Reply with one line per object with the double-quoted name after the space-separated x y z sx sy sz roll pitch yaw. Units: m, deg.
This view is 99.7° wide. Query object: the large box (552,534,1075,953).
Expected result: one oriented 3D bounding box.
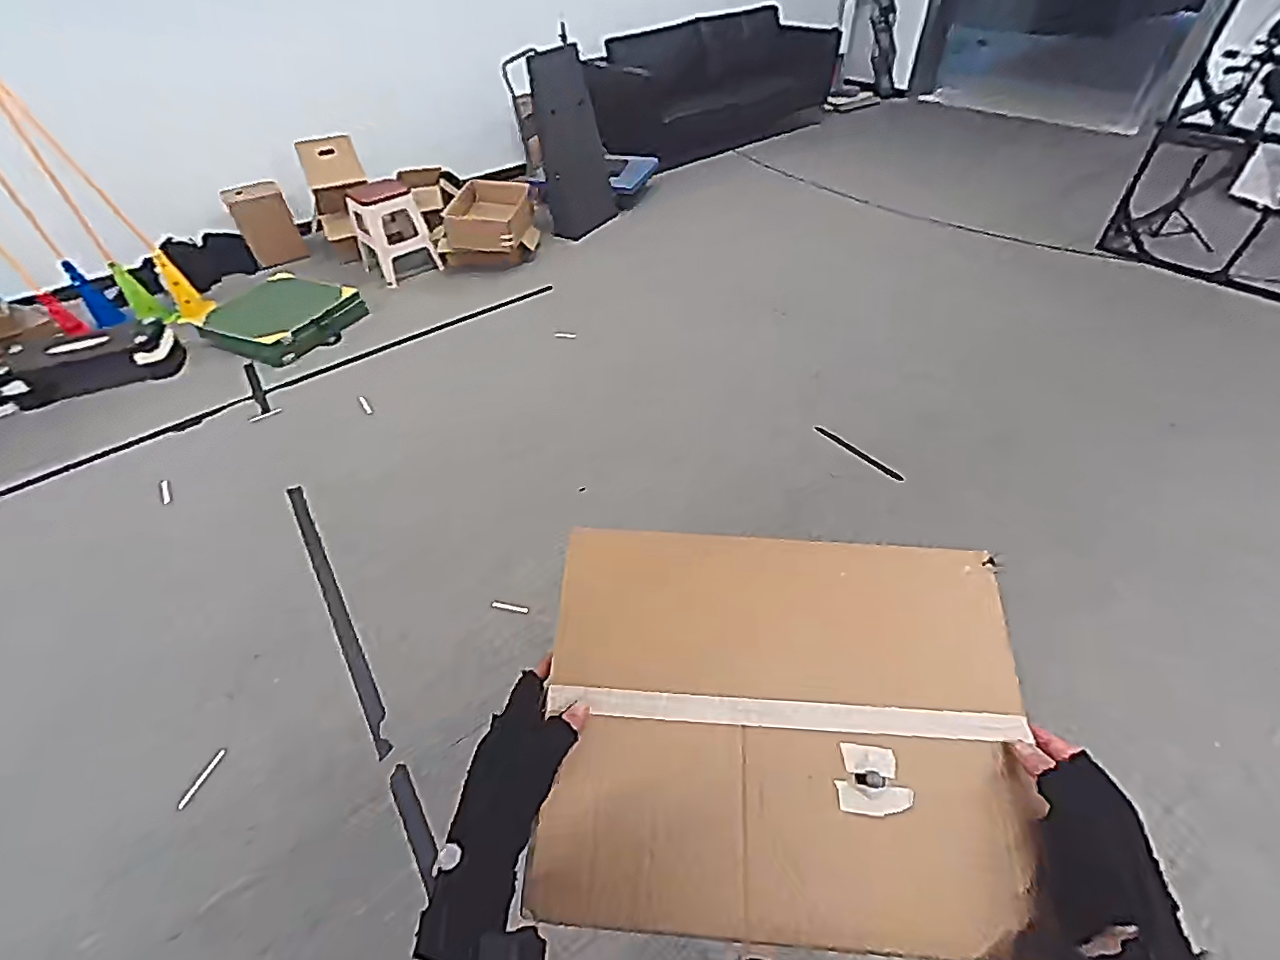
0.139 0.267 0.607 0.408 0.320 0.320 4 65 3 "large box"
